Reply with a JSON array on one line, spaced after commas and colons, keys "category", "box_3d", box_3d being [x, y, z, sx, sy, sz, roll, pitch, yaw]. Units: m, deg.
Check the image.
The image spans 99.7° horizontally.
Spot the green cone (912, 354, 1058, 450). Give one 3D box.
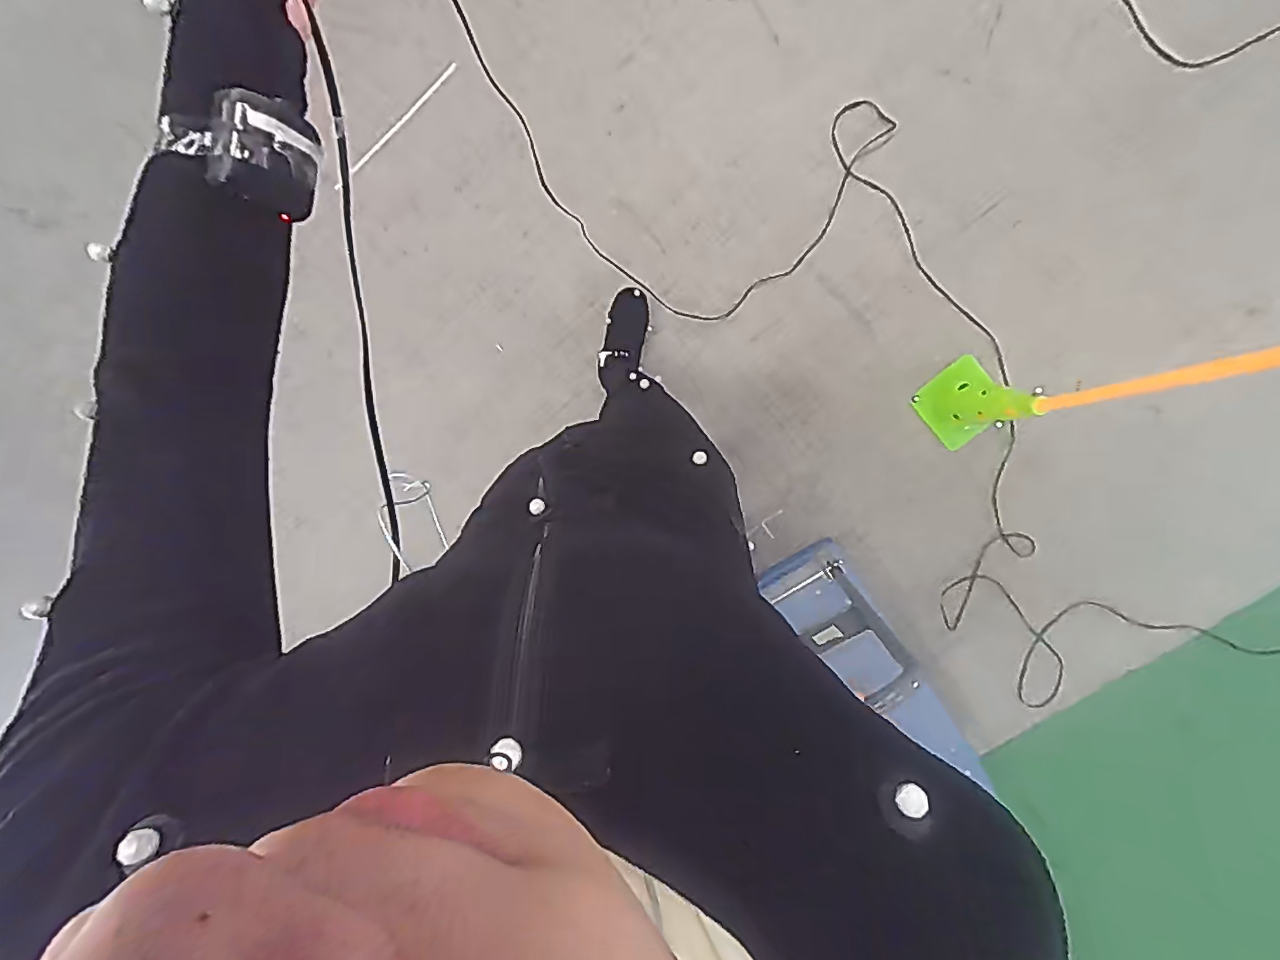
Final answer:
[{"category": "green cone", "box_3d": [0.864, -0.184, 1.307, 0.202, 0.368, 0.200, -41, 94, 9]}]
